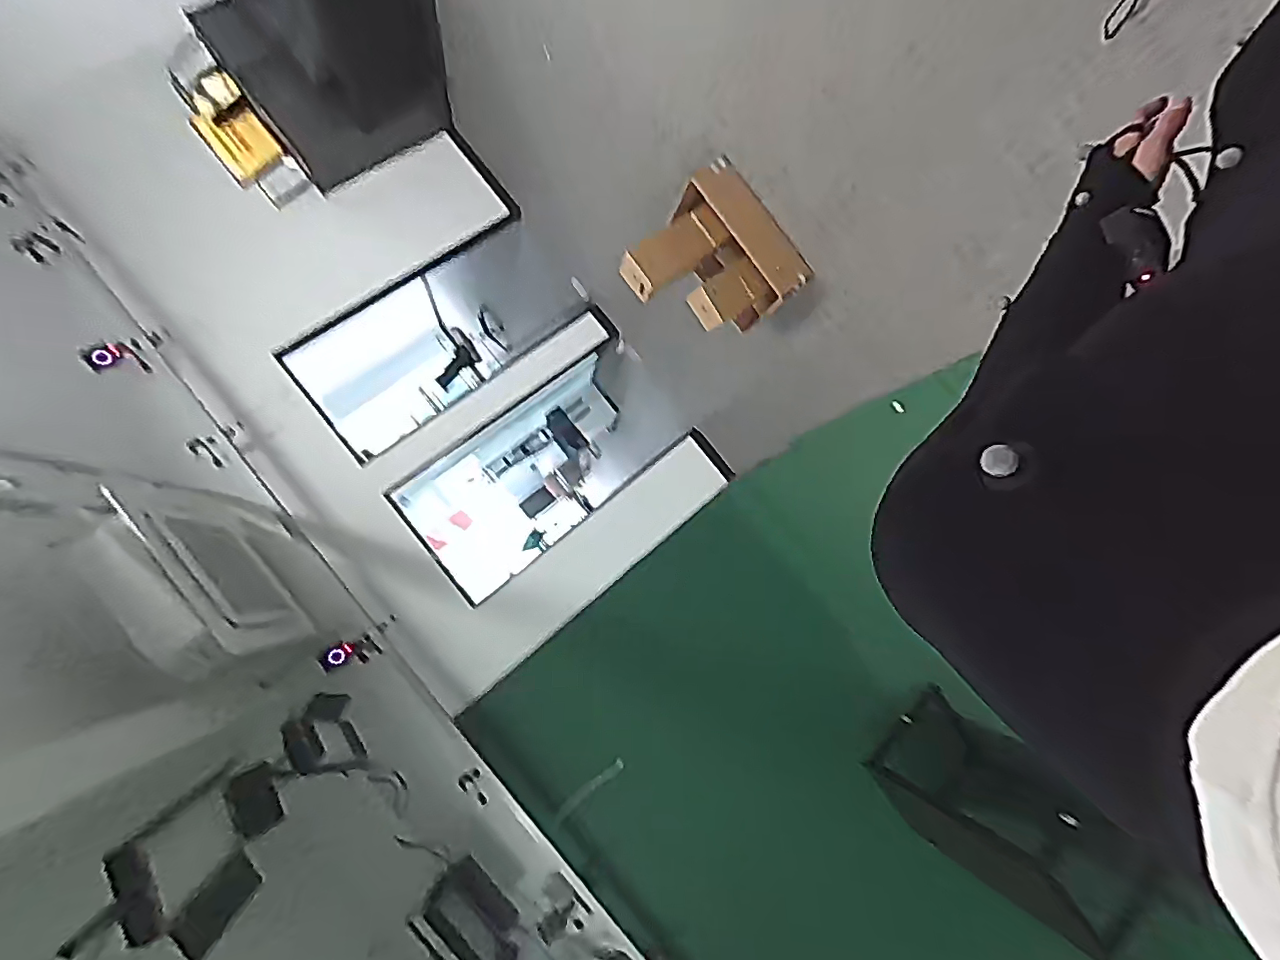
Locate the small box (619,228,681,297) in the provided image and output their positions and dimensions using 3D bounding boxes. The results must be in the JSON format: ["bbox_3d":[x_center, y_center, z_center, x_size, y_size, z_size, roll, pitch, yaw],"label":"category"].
[{"bbox_3d":[0.044,-0.901,2.234,0.179,0.176,0.168,53,165,-3],"label":"small box"}]
